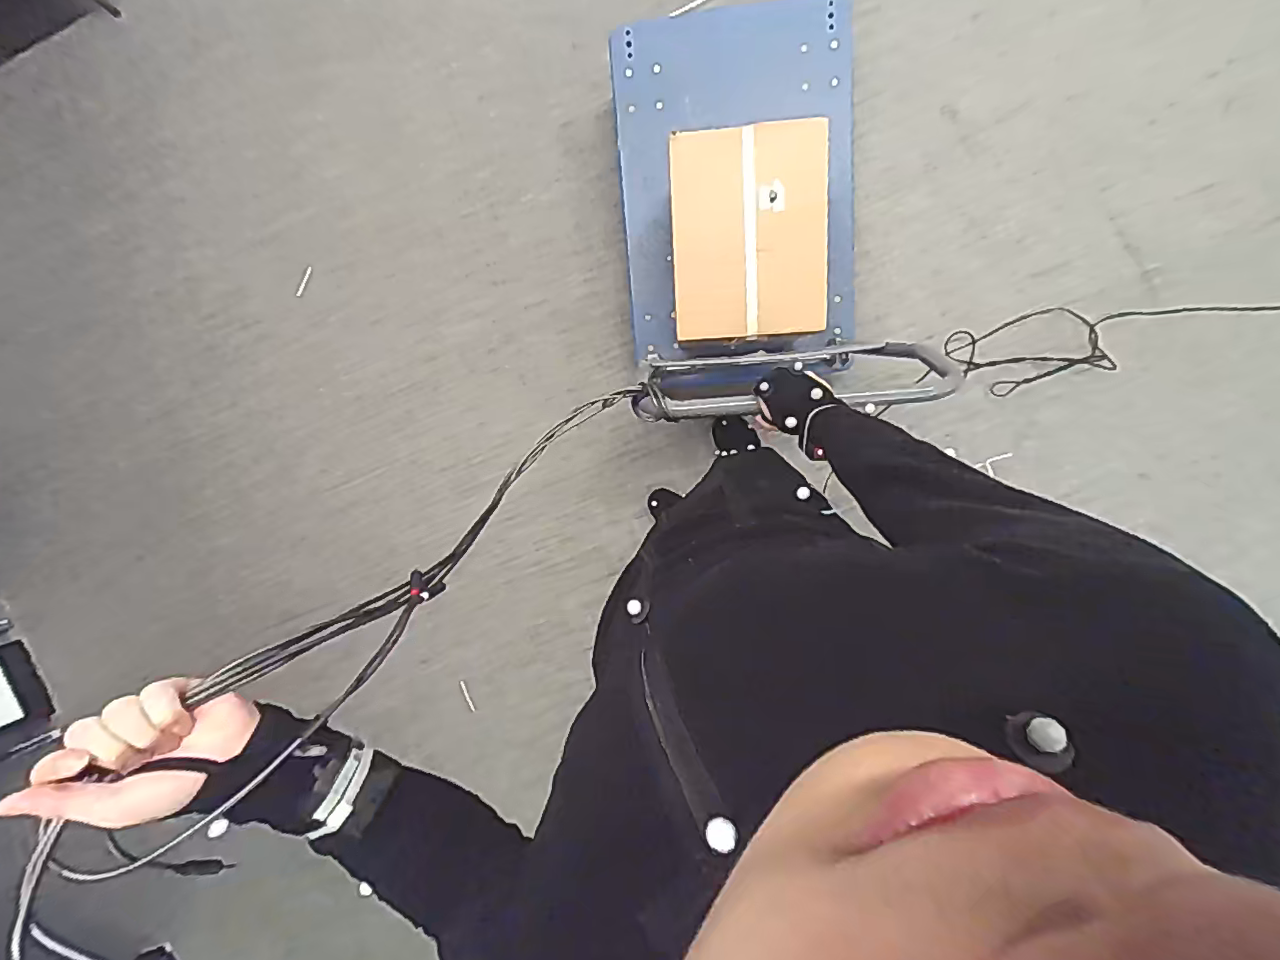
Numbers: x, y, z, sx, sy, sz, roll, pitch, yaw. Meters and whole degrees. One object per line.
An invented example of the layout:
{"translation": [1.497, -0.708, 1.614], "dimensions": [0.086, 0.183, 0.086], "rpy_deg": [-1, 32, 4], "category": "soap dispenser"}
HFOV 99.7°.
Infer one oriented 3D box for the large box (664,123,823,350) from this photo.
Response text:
{"translation": [0.228, -0.527, 1.257], "dimensions": [0.320, 0.320, 0.408], "rpy_deg": [-3, 100, 4], "category": "large box"}
